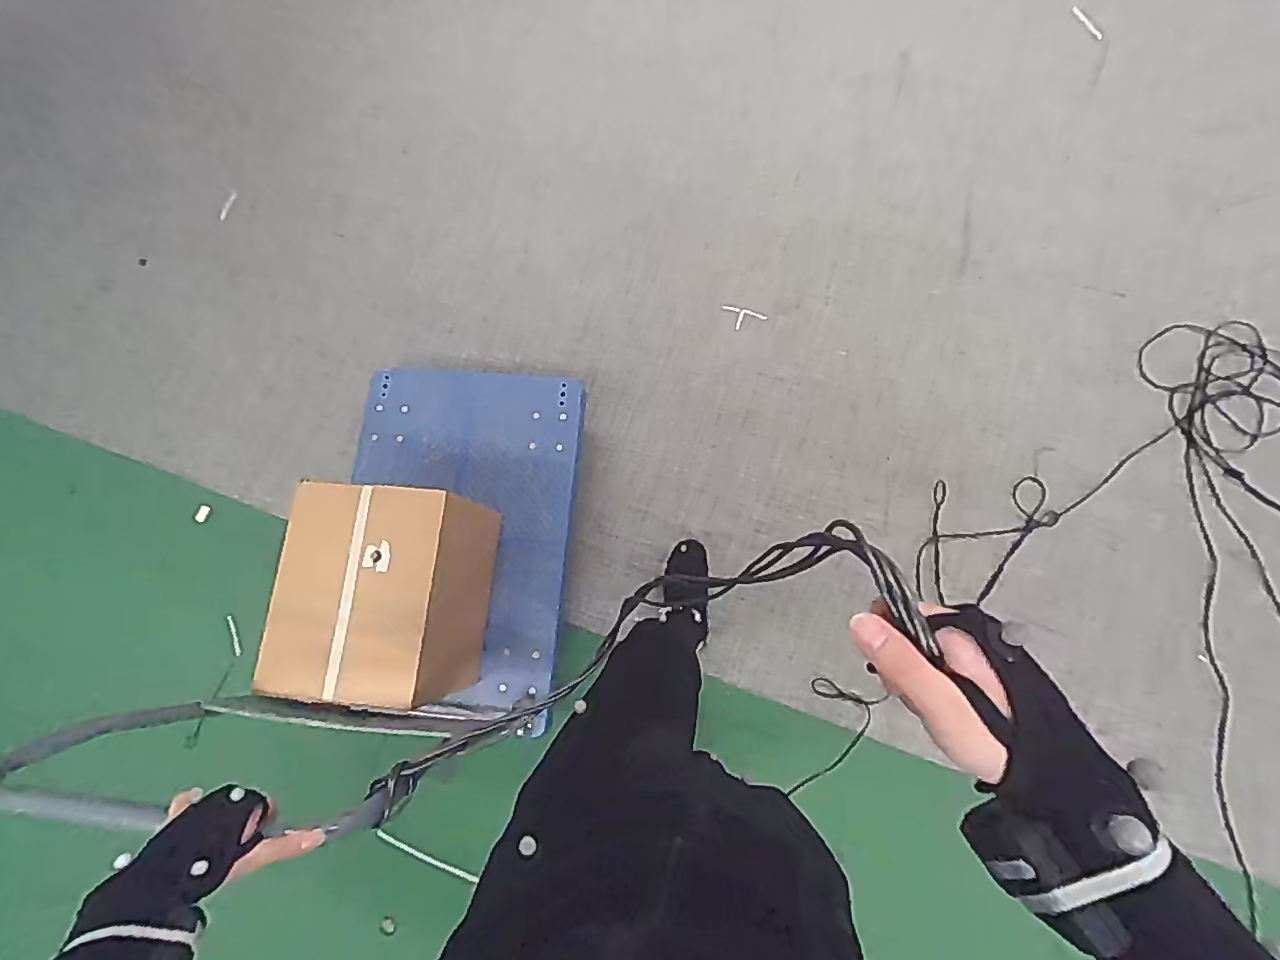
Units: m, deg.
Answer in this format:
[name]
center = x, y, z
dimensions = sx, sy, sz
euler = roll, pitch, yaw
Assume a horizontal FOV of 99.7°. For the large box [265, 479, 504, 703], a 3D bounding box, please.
[large box]
center = -0.512, 0.233, 1.163
dimensions = 0.320, 0.320, 0.408
euler = 4, 77, 6
